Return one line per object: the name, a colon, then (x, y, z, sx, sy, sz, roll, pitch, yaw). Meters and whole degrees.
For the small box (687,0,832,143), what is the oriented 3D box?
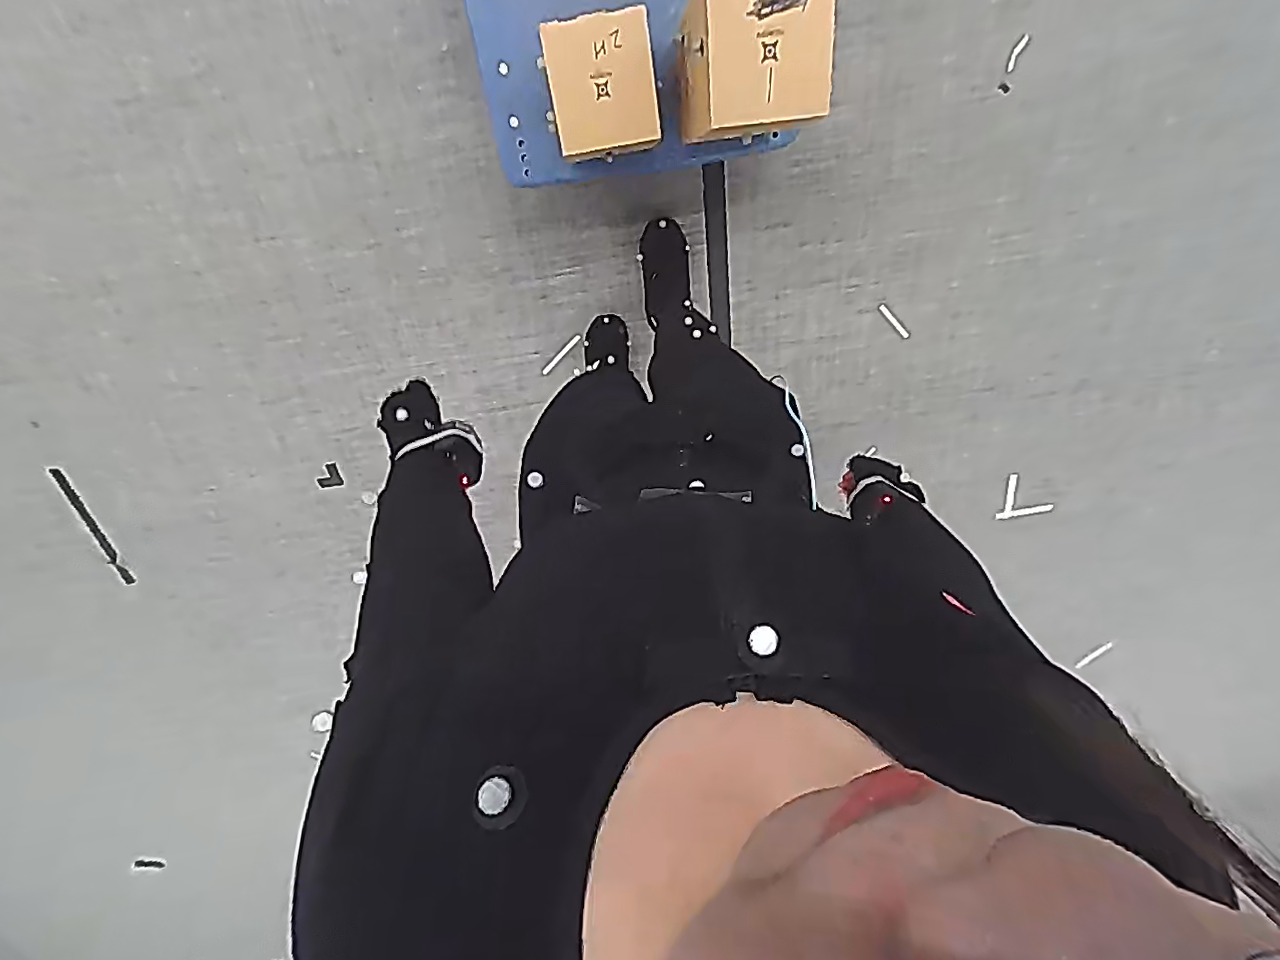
small box: (0.162, -0.601, 0.776, 0.168, 0.176, 0.179, -6, 118, 0)

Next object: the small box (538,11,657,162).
small box: (-0.066, -0.653, 0.921, 0.168, 0.176, 0.179, -10, 117, 1)
